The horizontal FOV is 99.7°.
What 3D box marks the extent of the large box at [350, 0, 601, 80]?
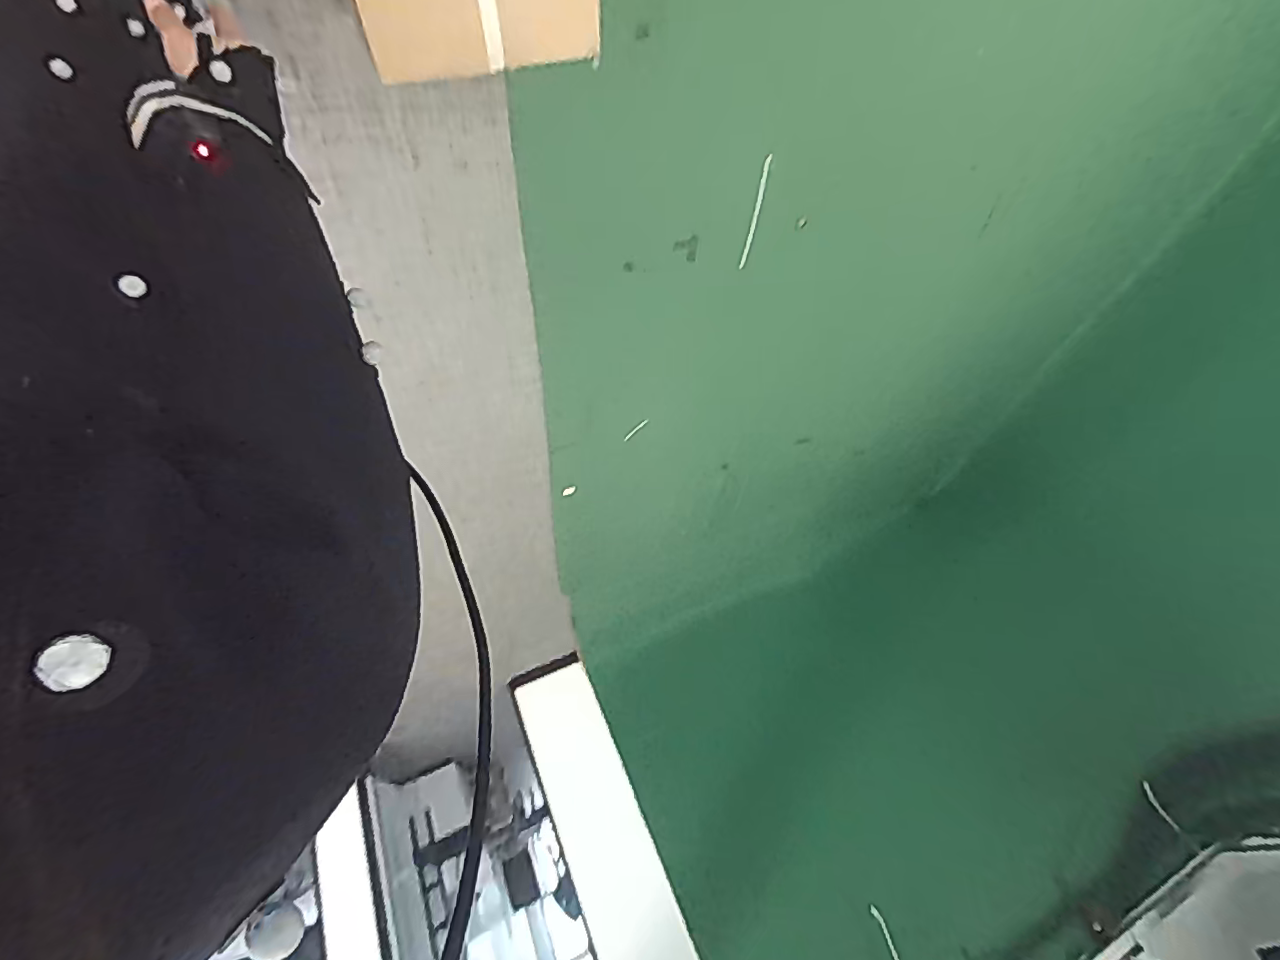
[{"bbox_3d":[-0.256,-0.803,0.664,0.320,0.320,0.408,-20,148,-15],"label":"large box"}]
